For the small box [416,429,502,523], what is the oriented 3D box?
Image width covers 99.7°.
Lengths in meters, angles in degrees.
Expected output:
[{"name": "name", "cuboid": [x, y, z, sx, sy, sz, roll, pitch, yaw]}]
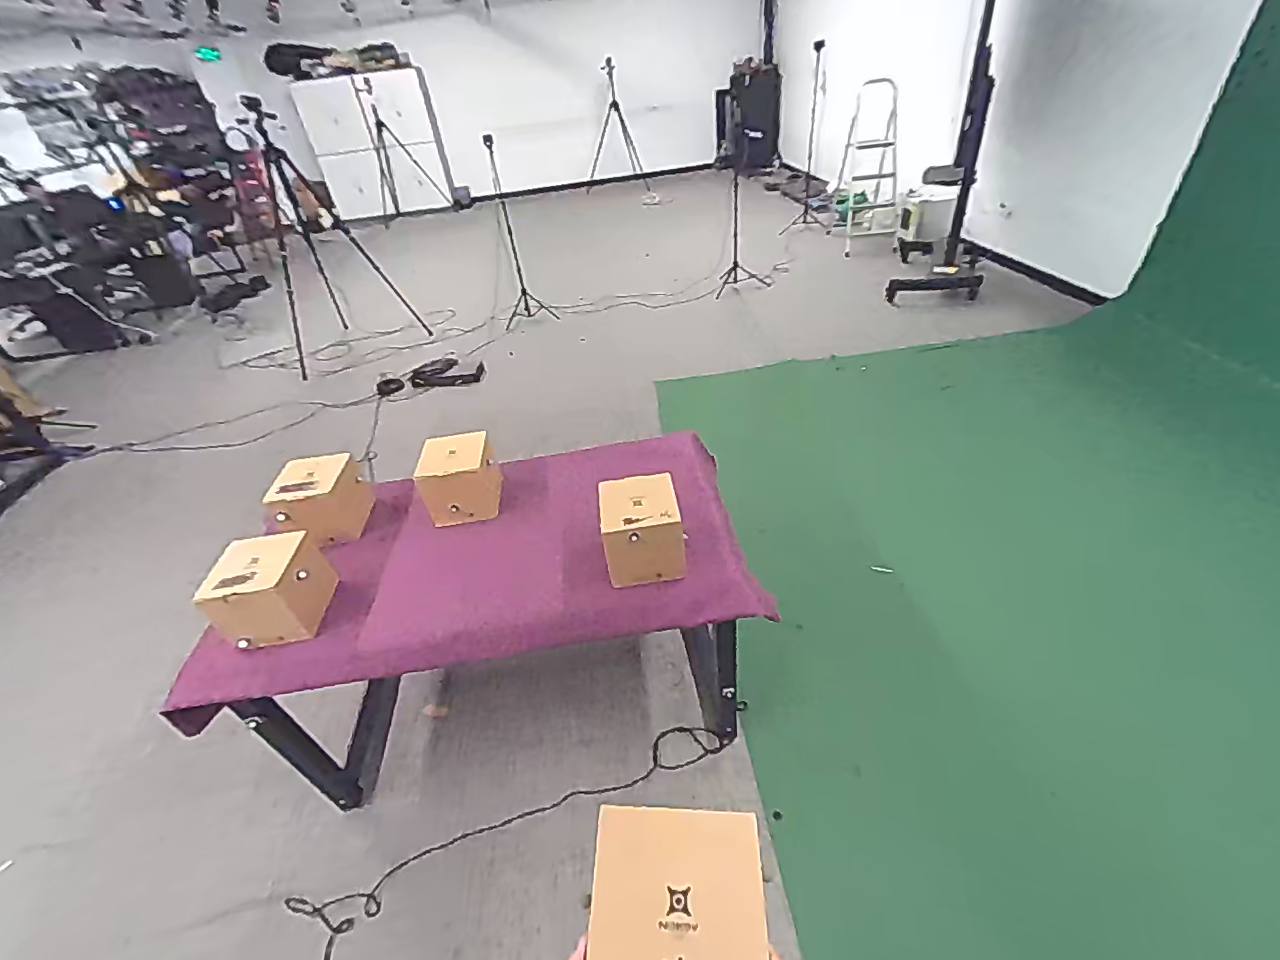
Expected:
[{"name": "small box", "cuboid": [-0.470, -0.011, 1.436, 0.168, 0.176, 0.179, -8, 39, -2]}]

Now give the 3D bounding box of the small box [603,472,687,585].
[{"name": "small box", "cuboid": [0.009, 0.106, 1.201, 0.168, 0.176, 0.179, -9, 36, 0]}]

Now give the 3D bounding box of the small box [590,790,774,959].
[{"name": "small box", "cuboid": [0.040, 0.452, 0.564, 0.168, 0.176, 0.179, 1, 44, 3]}]

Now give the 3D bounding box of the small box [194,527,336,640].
[{"name": "small box", "cuboid": [-0.798, 0.230, 1.176, 0.168, 0.176, 0.179, -8, 37, -2]}]
